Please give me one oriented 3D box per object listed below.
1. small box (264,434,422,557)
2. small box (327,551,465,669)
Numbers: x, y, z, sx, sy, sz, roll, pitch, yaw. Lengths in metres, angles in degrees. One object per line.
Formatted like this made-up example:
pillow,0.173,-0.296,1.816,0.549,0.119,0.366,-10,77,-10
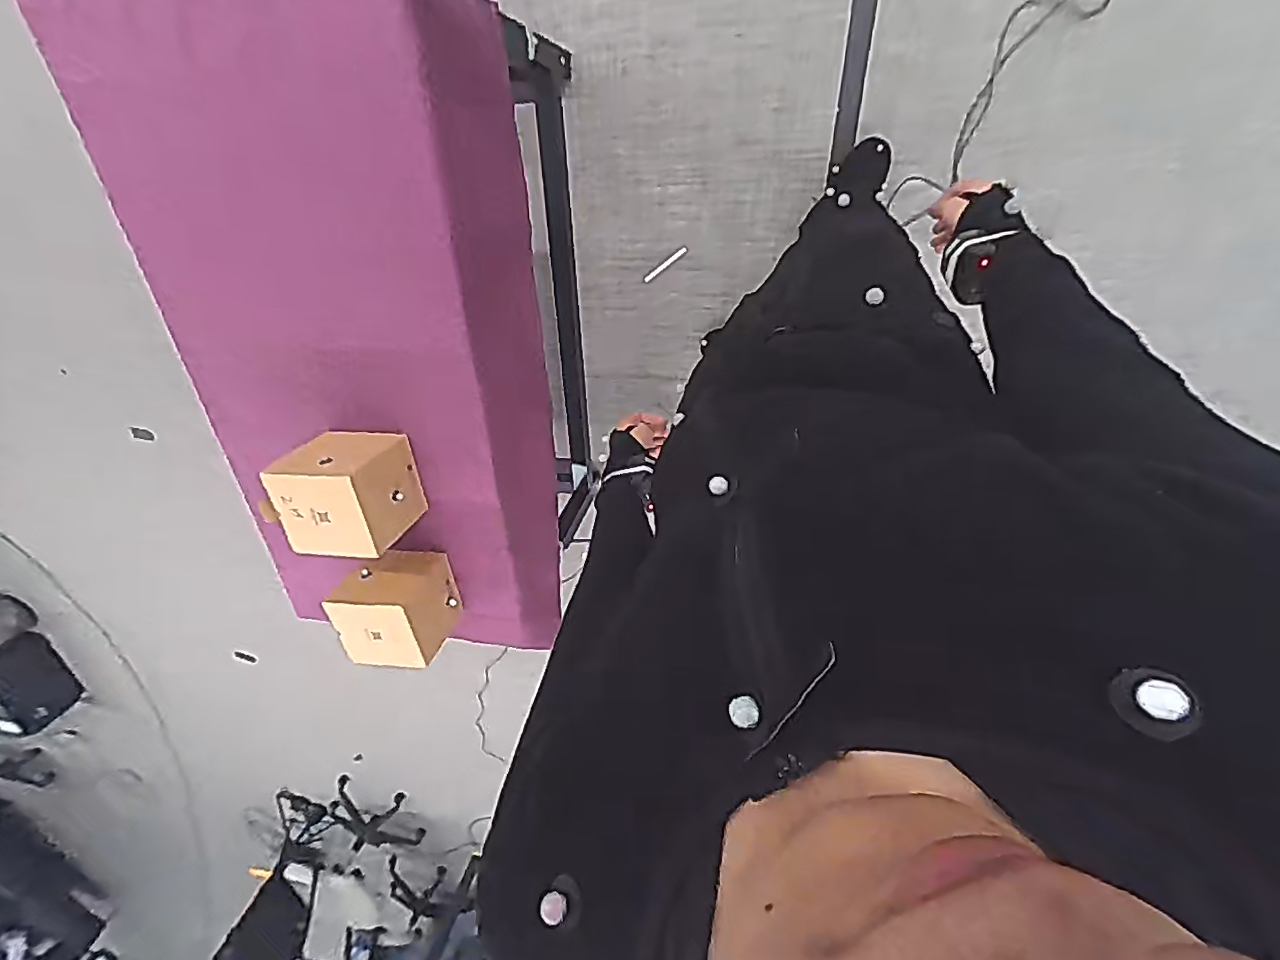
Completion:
small box,-0.527,0.023,0.994,0.179,0.176,0.168,3,119,12
small box,-0.496,0.263,1.124,0.179,0.176,0.168,1,120,13
